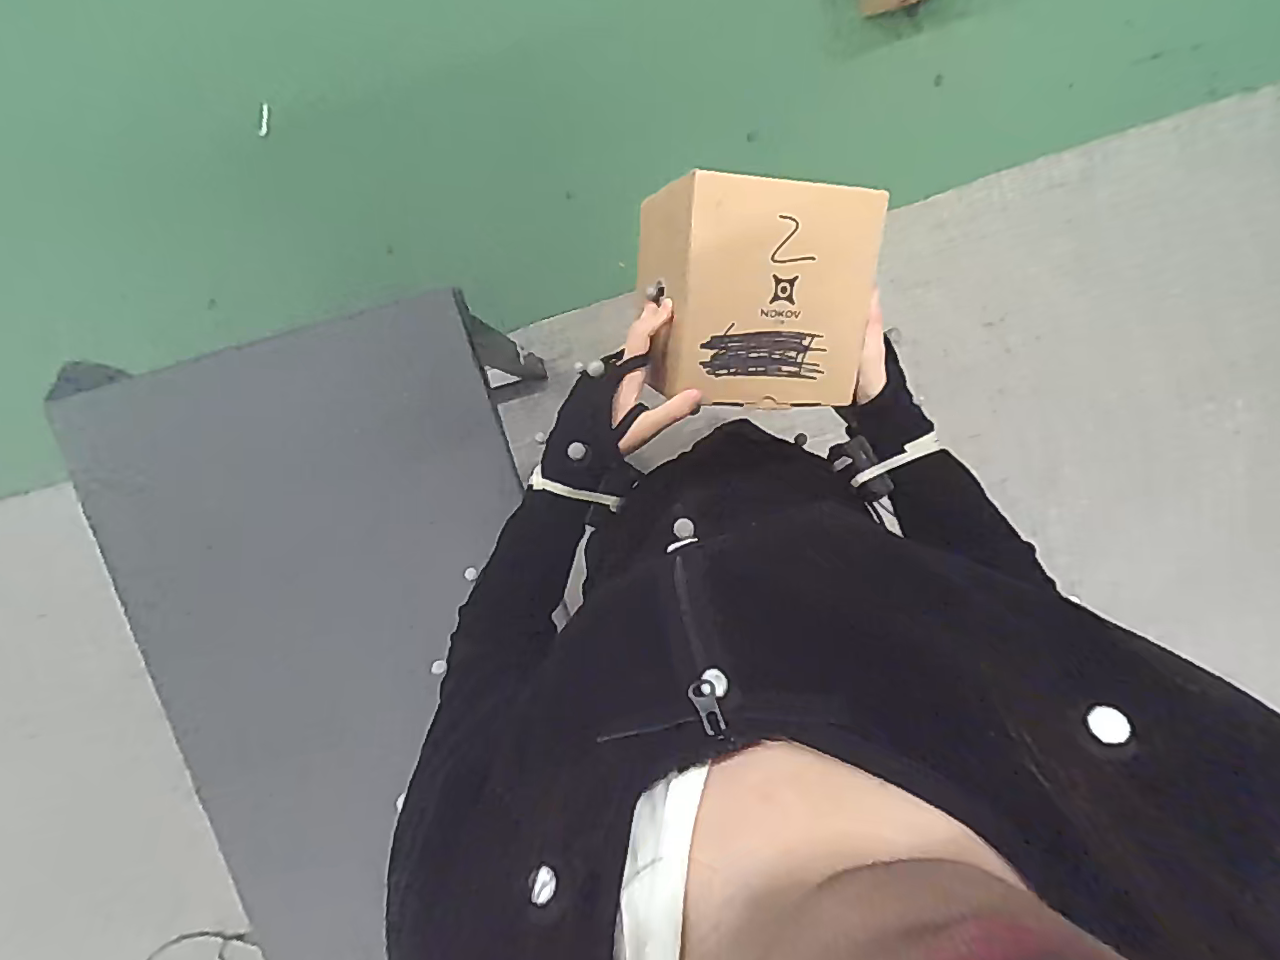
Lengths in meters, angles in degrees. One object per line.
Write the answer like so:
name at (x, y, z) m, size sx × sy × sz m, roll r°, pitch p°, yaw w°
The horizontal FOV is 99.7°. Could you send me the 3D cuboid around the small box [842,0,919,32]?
small box at (0.593, -1.246, 1.301) m, size 0.168 × 0.176 × 0.179 m, roll -17°, pitch 95°, yaw 0°
